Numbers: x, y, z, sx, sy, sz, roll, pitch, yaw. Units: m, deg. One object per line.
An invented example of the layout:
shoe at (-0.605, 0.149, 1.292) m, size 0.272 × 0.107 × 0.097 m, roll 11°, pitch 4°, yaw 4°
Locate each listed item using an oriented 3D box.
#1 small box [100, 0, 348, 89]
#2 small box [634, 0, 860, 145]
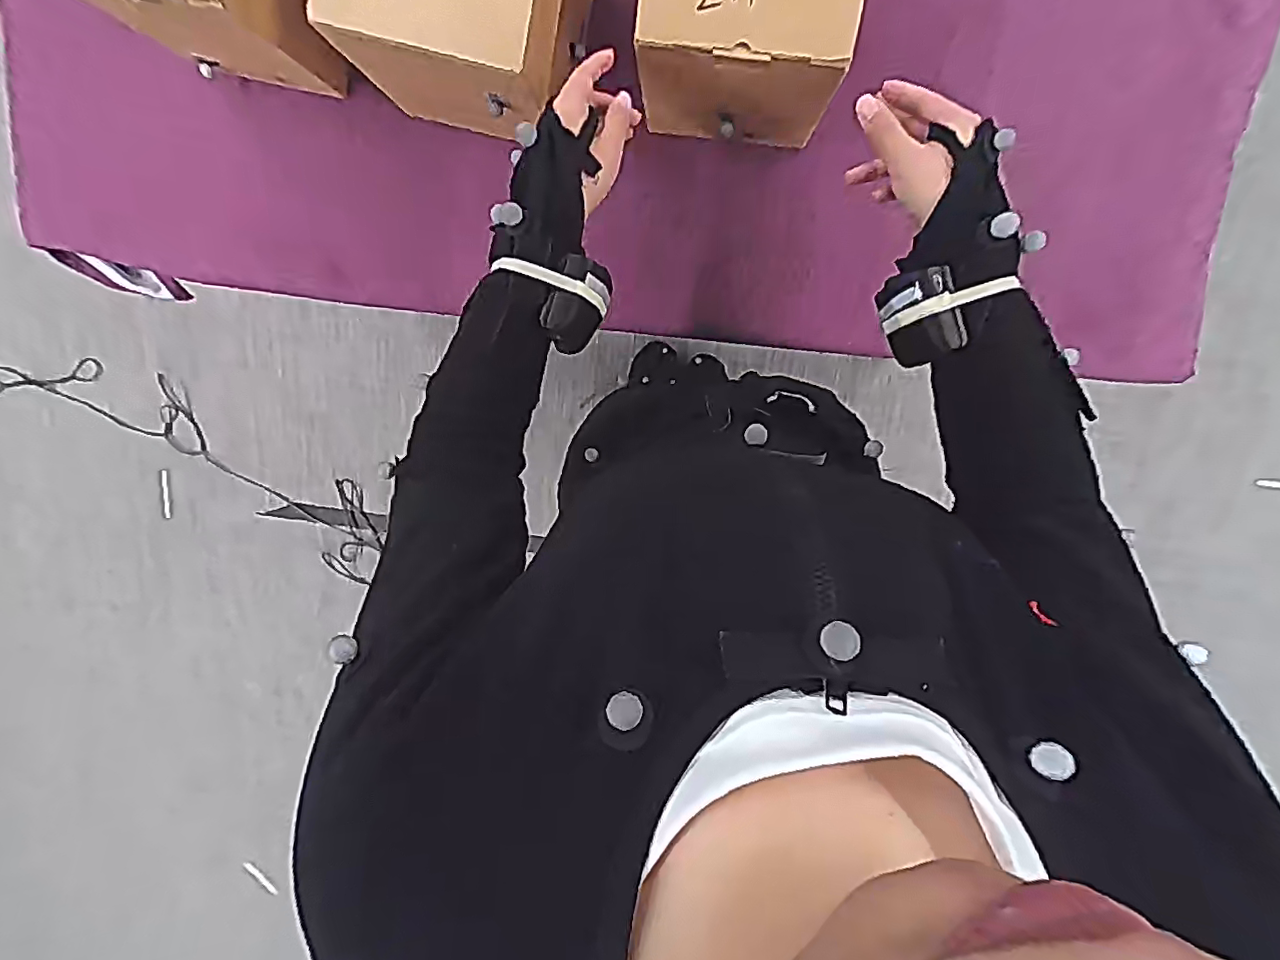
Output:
small box at (-0.382, -0.491, 0.481) m, size 0.168 × 0.176 × 0.179 m, roll 12°, pitch 103°, yaw 1°
small box at (0.092, -0.424, 0.464) m, size 0.168 × 0.176 × 0.179 m, roll 8°, pitch 103°, yaw 3°
